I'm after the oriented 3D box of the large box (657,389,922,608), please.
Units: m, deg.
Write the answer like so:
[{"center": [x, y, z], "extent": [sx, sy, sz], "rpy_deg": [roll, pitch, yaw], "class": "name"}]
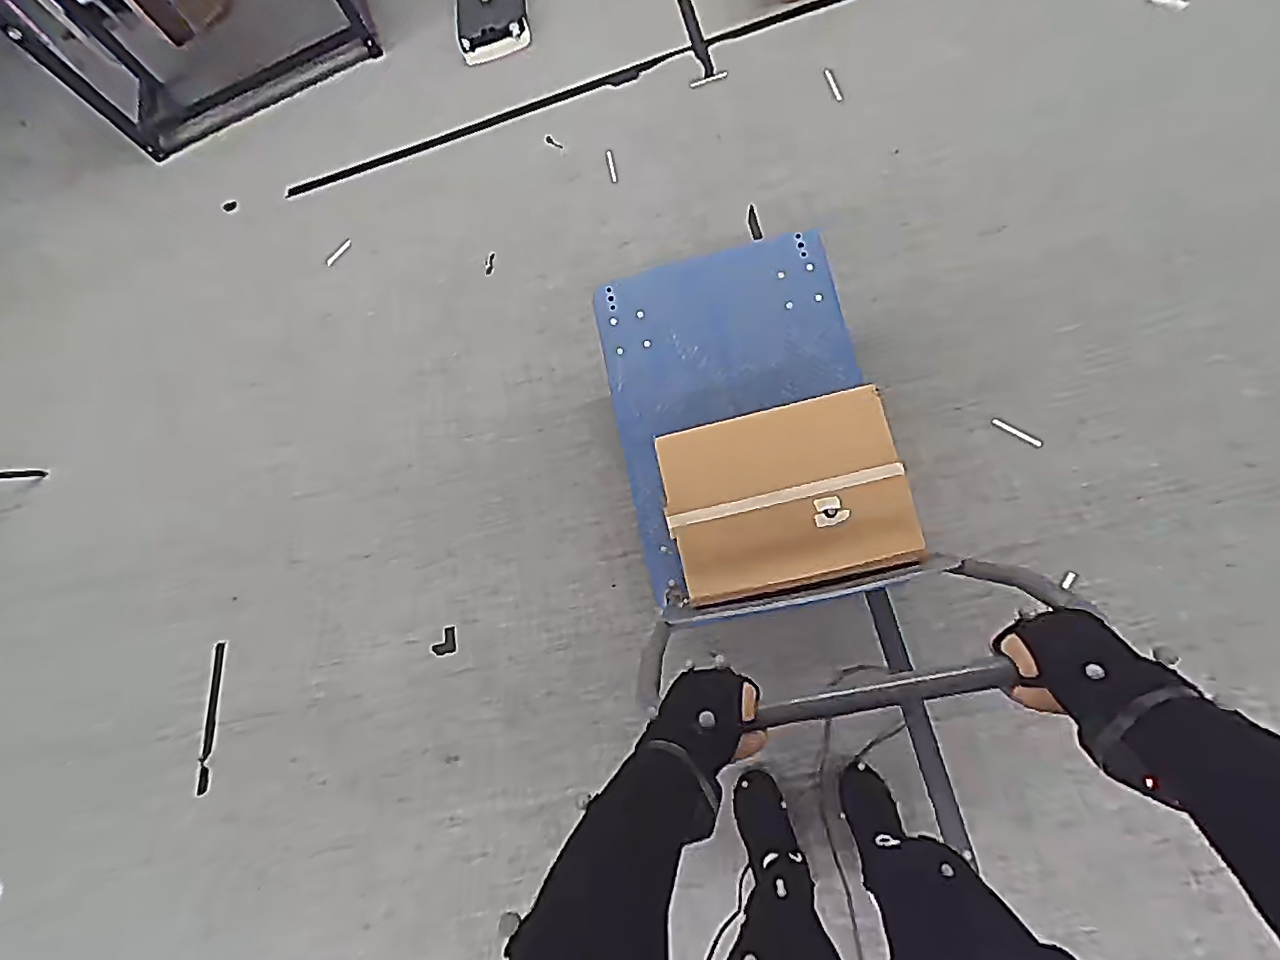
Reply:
[{"center": [0.275, 0.054, 1.106], "extent": [0.408, 0.320, 0.320], "rpy_deg": [-14, 81, 6], "class": "large box"}]
